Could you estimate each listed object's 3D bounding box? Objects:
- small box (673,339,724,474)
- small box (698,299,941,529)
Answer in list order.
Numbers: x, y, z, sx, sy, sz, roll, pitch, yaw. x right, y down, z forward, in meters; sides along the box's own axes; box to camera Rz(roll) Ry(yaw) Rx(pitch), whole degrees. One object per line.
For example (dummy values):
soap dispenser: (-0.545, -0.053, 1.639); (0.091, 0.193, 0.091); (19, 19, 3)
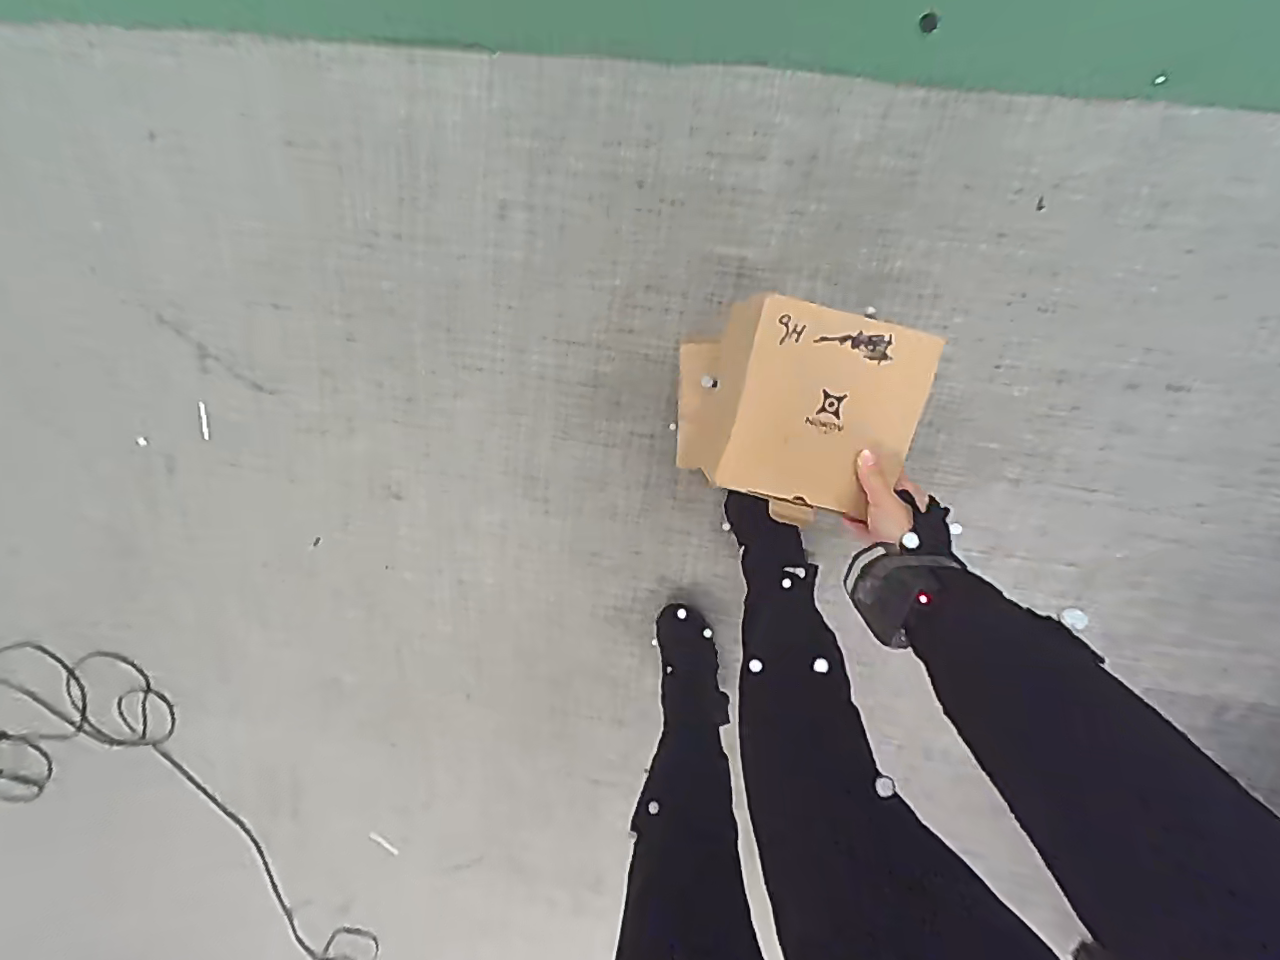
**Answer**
small box: (0.138, -0.115, 0.811); (0.168, 0.176, 0.179); (1, 108, 6)
small box: (0.162, -0.073, 0.560); (0.168, 0.176, 0.179); (13, 103, -5)
